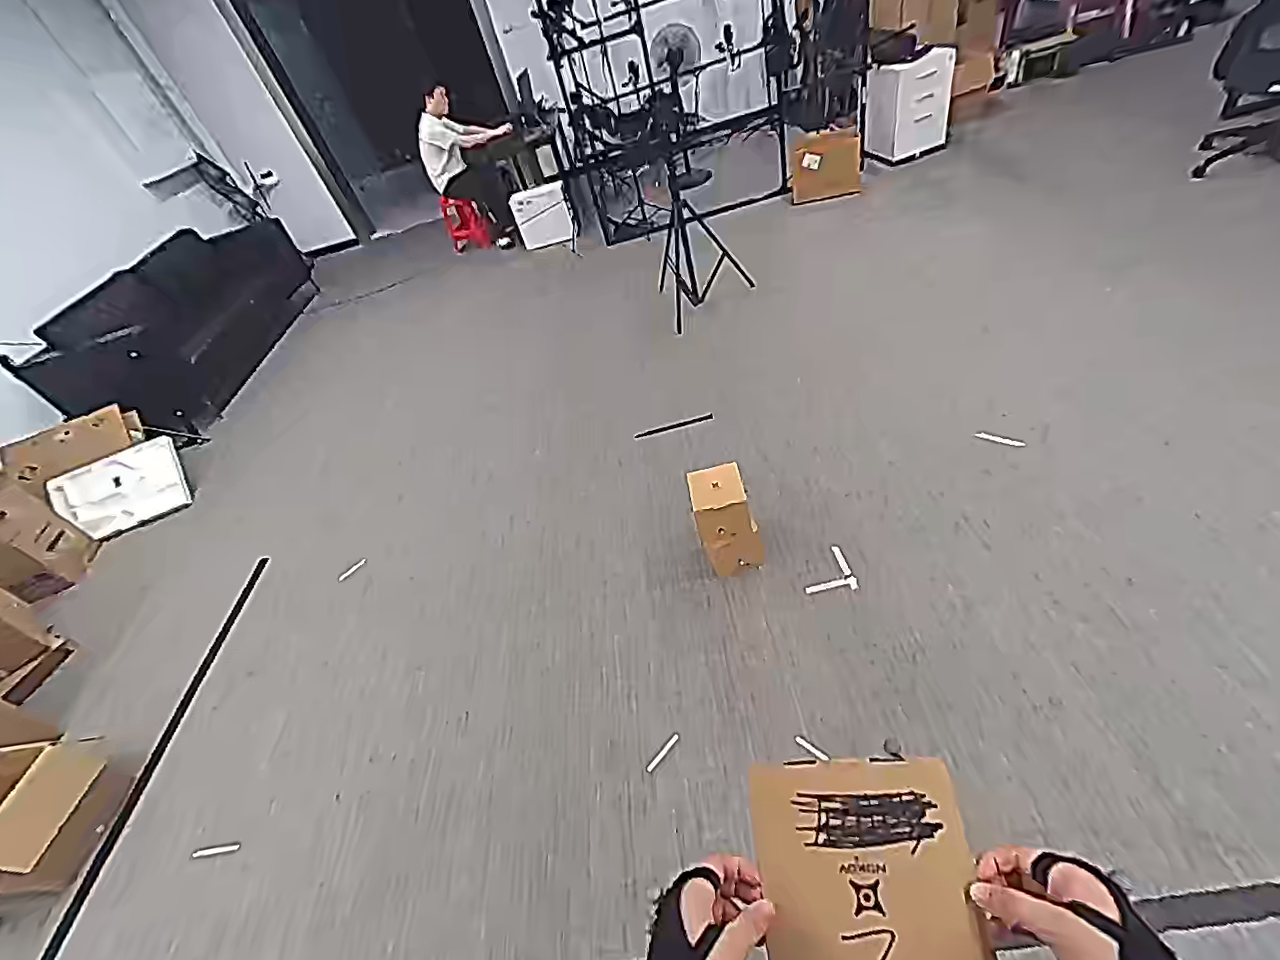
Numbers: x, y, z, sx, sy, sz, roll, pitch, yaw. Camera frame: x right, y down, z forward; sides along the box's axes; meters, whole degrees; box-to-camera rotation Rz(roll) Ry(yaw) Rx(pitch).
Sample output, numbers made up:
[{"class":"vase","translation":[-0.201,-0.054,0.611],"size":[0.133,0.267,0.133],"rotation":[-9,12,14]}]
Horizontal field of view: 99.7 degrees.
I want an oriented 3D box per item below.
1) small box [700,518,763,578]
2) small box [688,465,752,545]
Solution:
[{"class":"small box","translation":[0.301,0.199,1.831],"size":[0.168,0.176,0.179],"rotation":[-22,42,-2]},{"class":"small box","translation":[0.254,0.081,1.728],"size":[0.168,0.176,0.179],"rotation":[-13,43,7]}]
